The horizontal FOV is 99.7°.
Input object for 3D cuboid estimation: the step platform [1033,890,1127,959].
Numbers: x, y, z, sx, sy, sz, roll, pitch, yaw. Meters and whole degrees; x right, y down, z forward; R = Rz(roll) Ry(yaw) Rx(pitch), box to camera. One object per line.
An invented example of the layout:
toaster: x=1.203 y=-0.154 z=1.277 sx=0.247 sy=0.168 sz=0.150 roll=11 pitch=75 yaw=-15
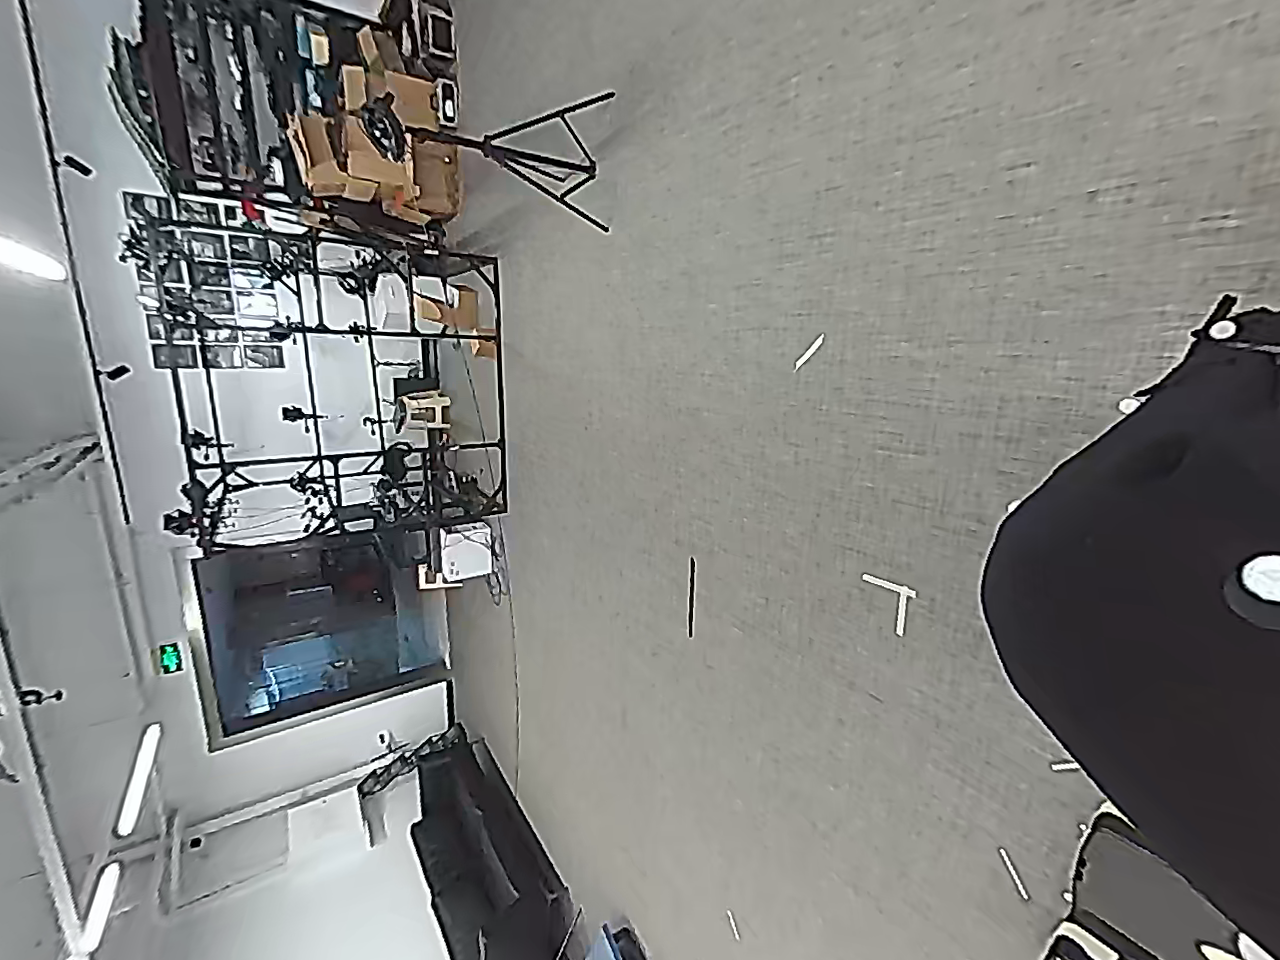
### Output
step platform: x=1.173 y=1.208 z=1.051 sx=0.684 sy=0.204 sz=0.286 roll=21 pitch=113 yaw=56
